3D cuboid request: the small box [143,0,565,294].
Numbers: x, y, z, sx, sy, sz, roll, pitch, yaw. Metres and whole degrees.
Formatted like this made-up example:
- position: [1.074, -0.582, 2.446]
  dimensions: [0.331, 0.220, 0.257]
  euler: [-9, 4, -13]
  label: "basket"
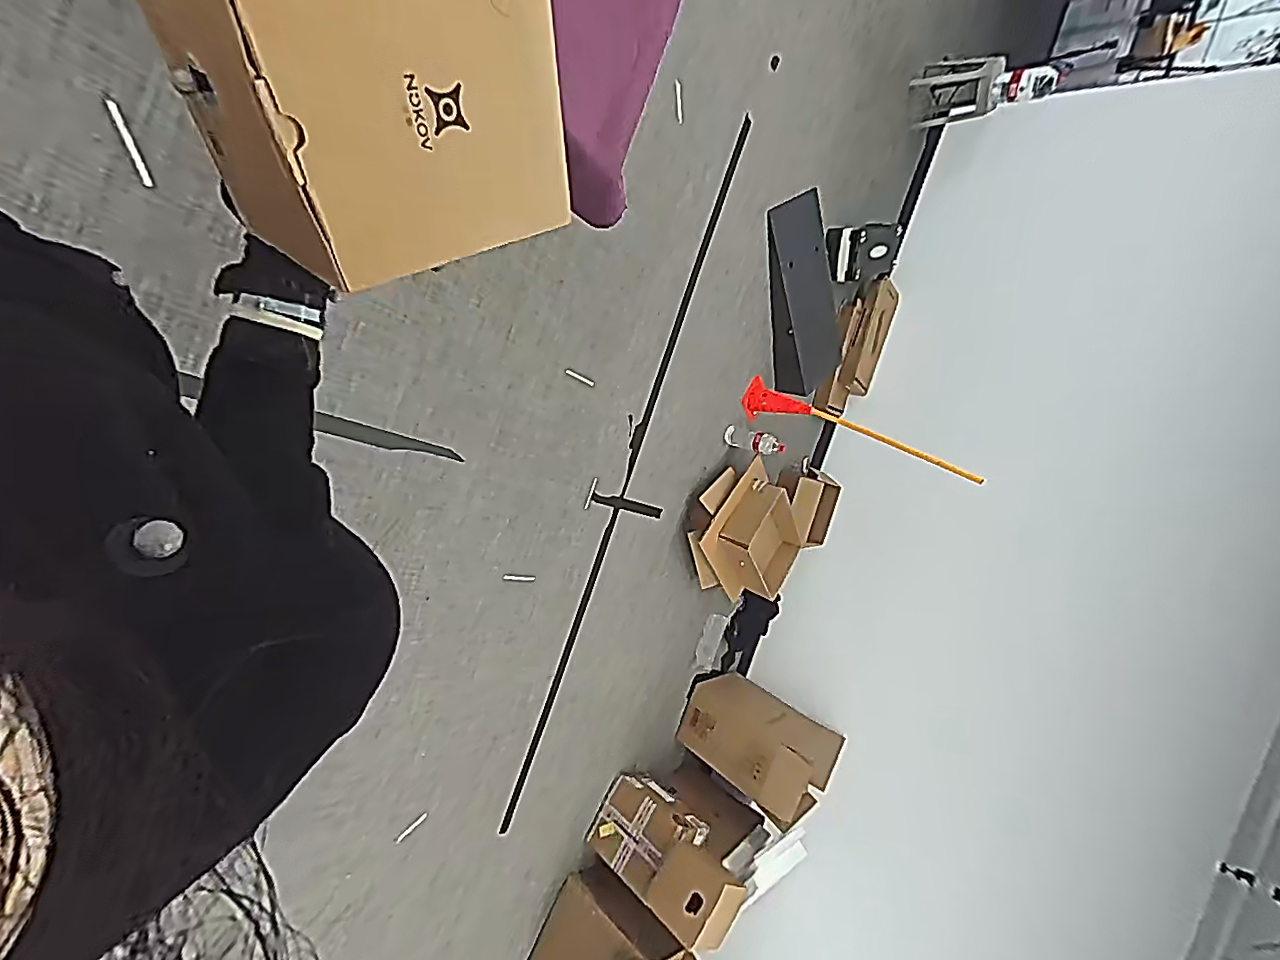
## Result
- position: [-0.175, -0.251, 0.357]
  dimensions: [0.179, 0.176, 0.168]
  euler: [-35, 143, -31]
  label: "small box"
